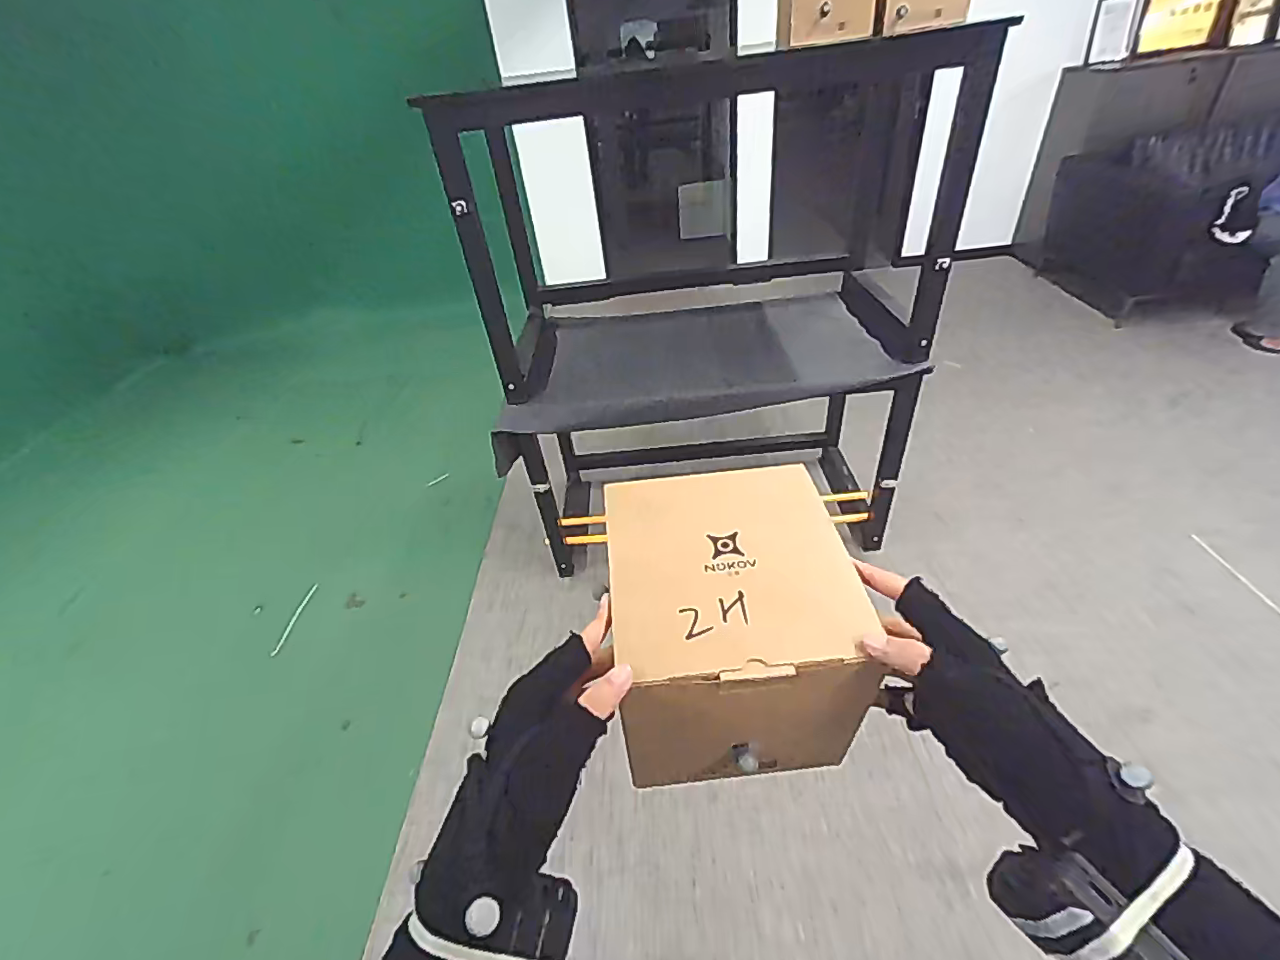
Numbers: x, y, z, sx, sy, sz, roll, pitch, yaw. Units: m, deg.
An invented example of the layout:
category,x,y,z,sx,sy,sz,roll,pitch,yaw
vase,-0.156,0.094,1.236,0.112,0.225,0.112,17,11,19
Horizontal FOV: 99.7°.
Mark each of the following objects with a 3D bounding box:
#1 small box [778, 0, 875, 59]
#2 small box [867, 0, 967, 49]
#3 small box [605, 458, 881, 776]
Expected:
category,x,y,z,sx,sy,sz,roll,pitch,yaw
small box,0.388,-0.997,1.134,0.168,0.176,0.179,-3,39,6
small box,0.569,-1.013,1.119,0.168,0.176,0.179,-4,37,6
small box,0.061,0.106,0.431,0.168,0.176,0.179,-6,41,-1
